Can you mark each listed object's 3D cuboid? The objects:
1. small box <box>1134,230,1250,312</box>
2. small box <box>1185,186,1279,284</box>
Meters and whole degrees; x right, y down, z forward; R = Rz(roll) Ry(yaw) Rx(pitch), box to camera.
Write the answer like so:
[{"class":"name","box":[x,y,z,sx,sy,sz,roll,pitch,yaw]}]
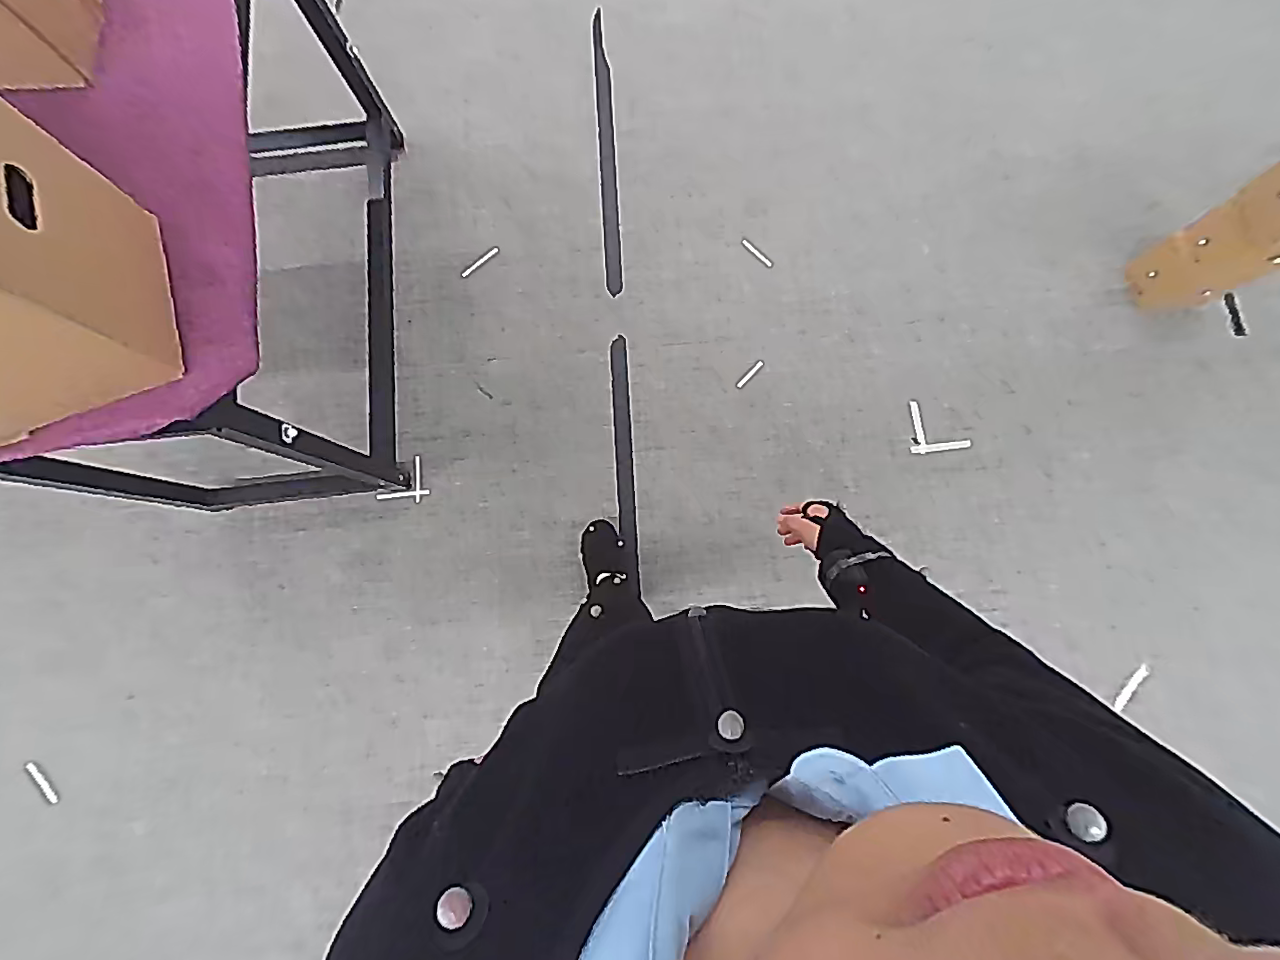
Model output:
[{"class":"small box","box":[1.569,-0.598,1.543,0.179,0.176,0.168,-7,80,0]},{"class":"small box","box":[1.575,-0.624,1.383,0.179,0.176,0.168,-5,80,1]}]
